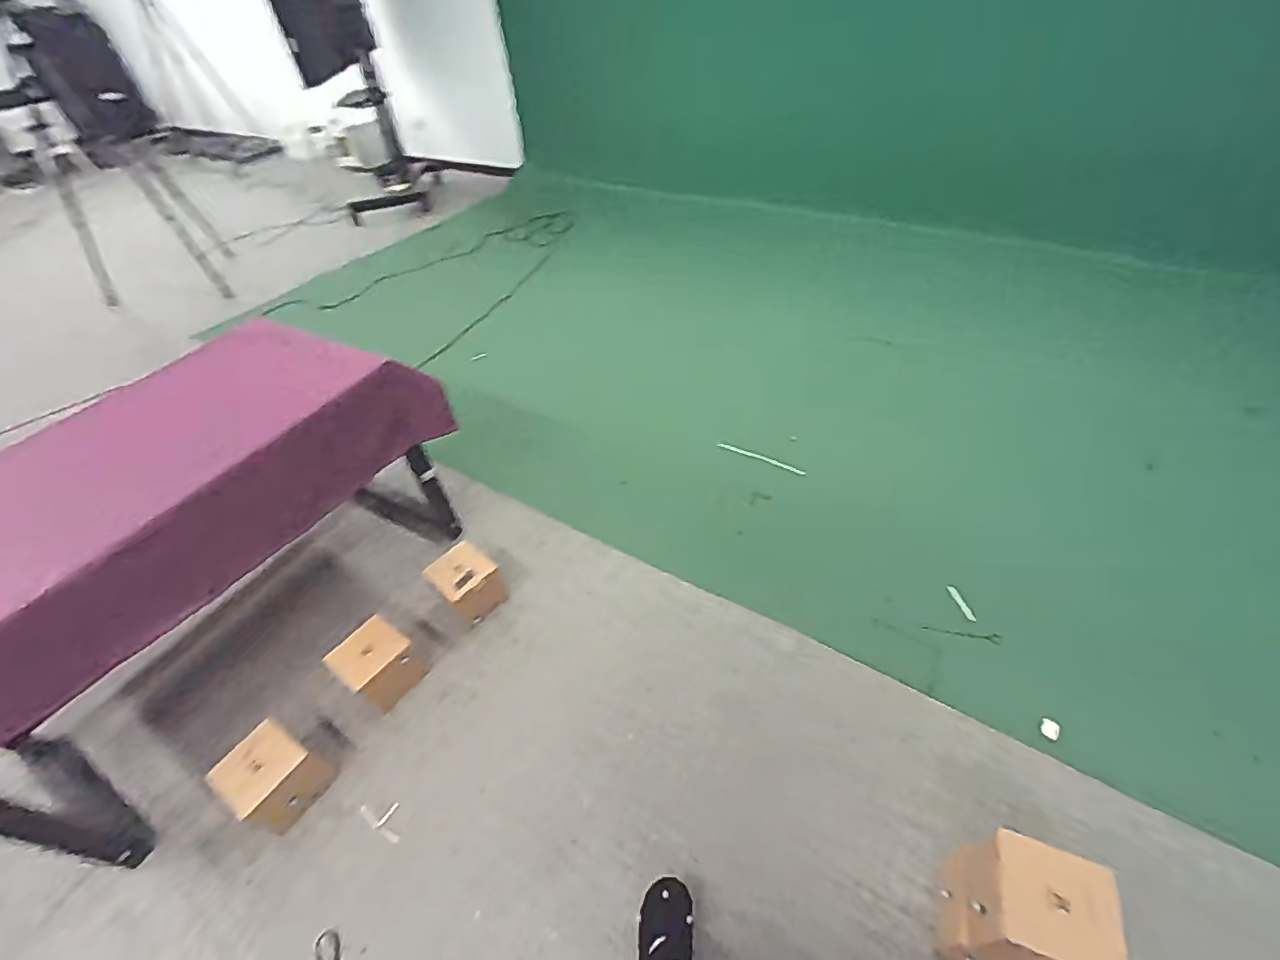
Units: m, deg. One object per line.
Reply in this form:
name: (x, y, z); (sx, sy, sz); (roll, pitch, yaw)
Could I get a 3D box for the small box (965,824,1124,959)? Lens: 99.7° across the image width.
small box: (0.690, 0.745, 0.946); (0.179, 0.176, 0.168); (14, 49, 18)

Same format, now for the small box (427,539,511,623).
small box: (-0.540, 0.328, 1.727); (0.179, 0.176, 0.168); (30, 55, 31)
